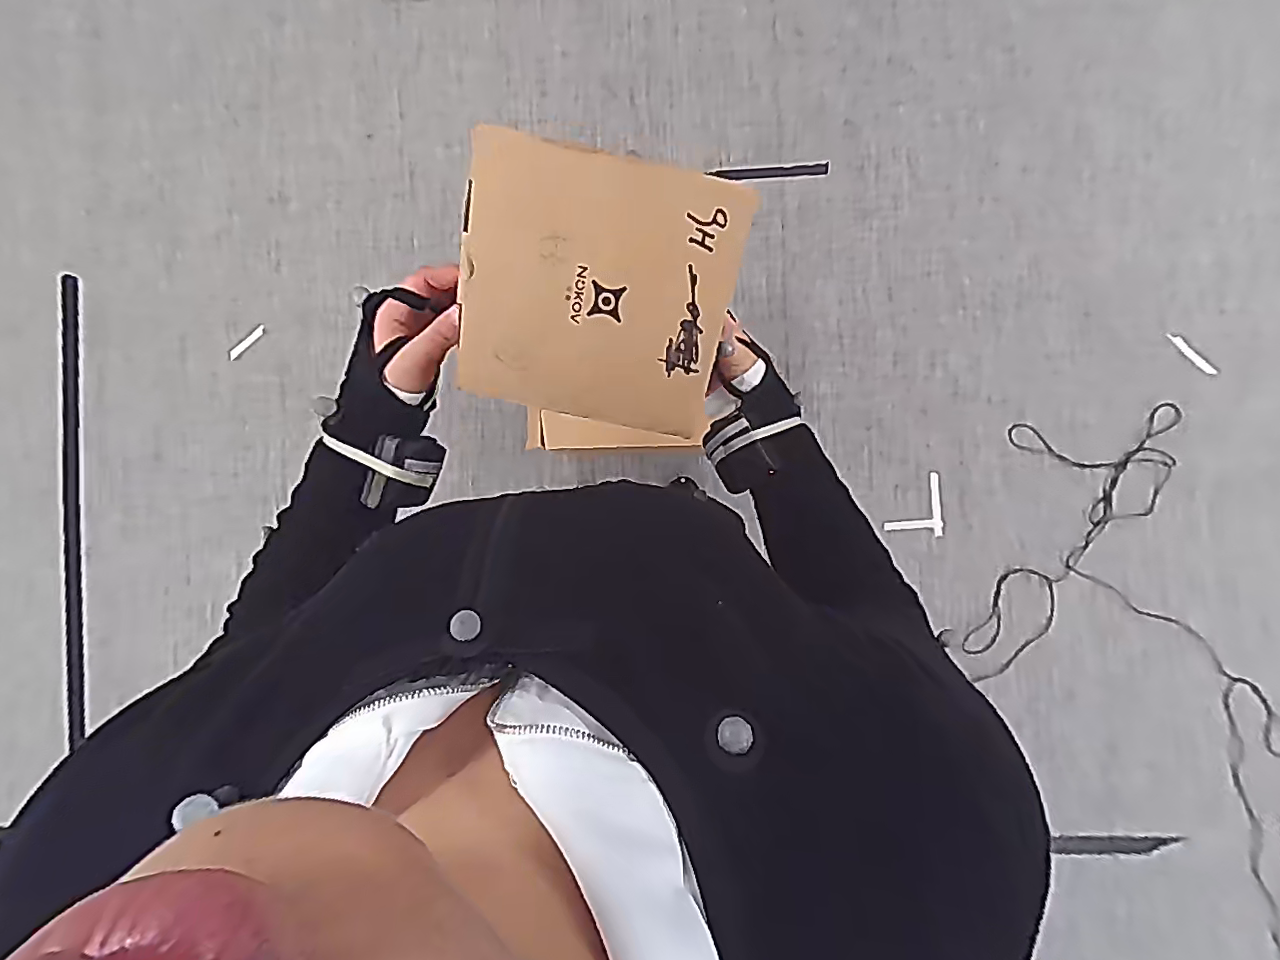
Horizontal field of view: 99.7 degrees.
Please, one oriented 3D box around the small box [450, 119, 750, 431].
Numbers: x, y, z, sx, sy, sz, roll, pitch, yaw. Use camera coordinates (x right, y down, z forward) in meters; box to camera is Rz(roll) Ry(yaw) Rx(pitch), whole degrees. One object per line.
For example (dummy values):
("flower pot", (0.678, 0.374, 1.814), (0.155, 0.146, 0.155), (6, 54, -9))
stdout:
("small box", (-0.030, -0.155, 0.428), (0.179, 0.176, 0.168), (12, 113, -2))
